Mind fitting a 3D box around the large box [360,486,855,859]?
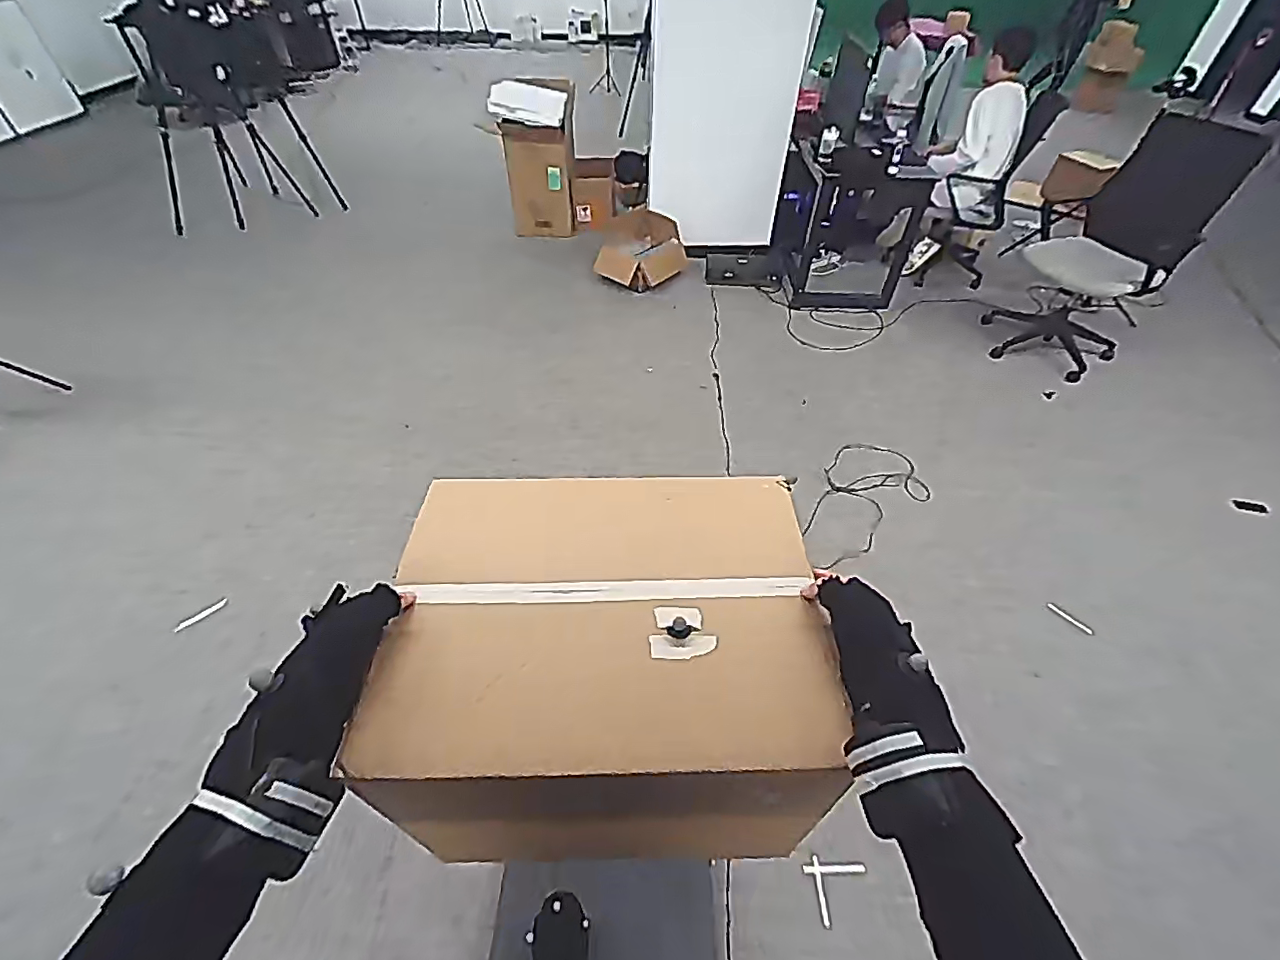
[{"bbox_3d":[-0.030,0.223,0.636,0.408,0.320,0.320,0,45,-1],"label":"large box"}]
